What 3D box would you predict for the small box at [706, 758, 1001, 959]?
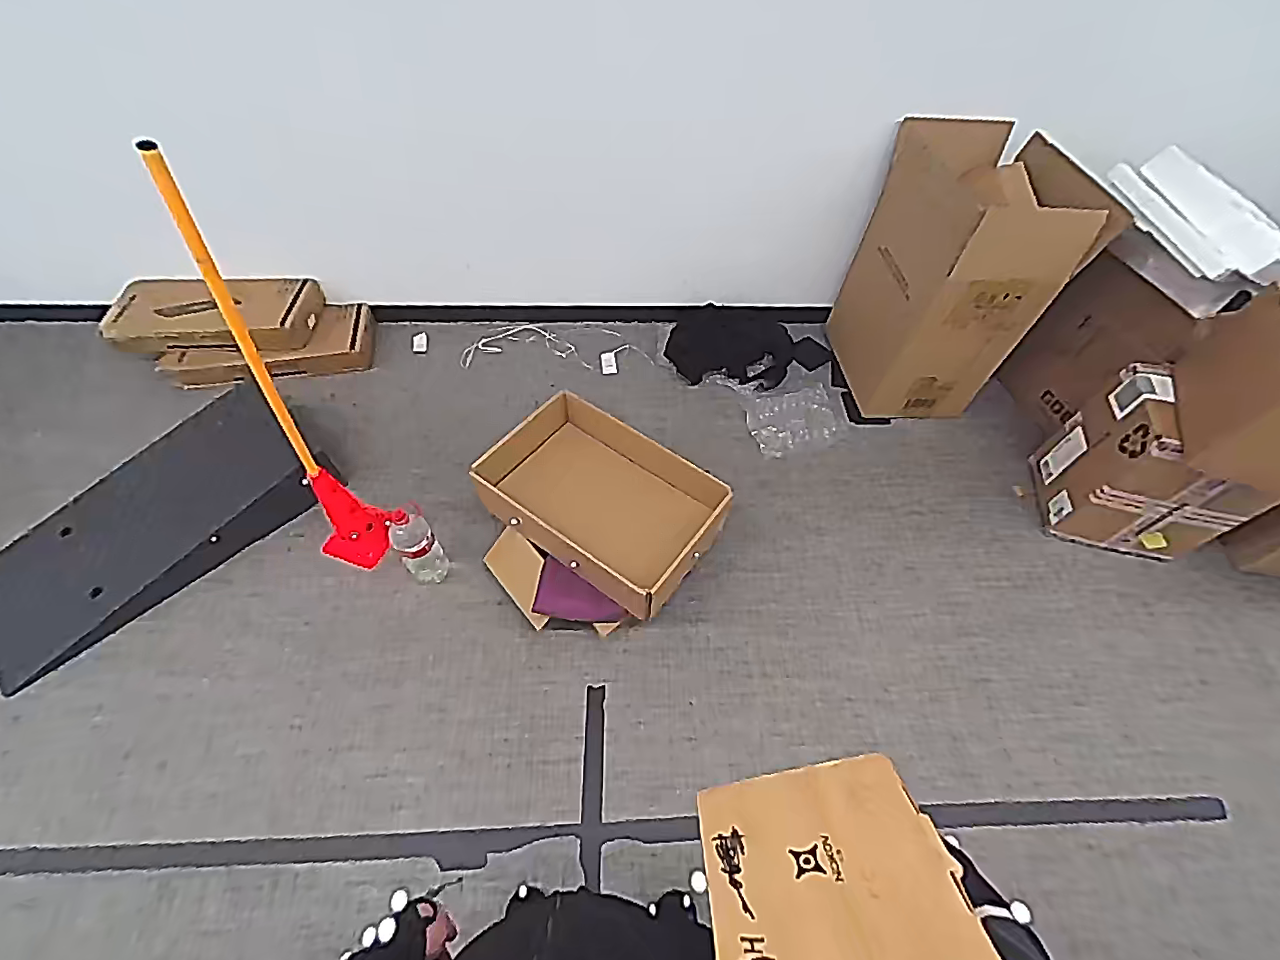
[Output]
[{"bbox_3d":[0.162,0.370,0.441,0.179,0.176,0.168,-14,16,4],"label":"small box"}]
